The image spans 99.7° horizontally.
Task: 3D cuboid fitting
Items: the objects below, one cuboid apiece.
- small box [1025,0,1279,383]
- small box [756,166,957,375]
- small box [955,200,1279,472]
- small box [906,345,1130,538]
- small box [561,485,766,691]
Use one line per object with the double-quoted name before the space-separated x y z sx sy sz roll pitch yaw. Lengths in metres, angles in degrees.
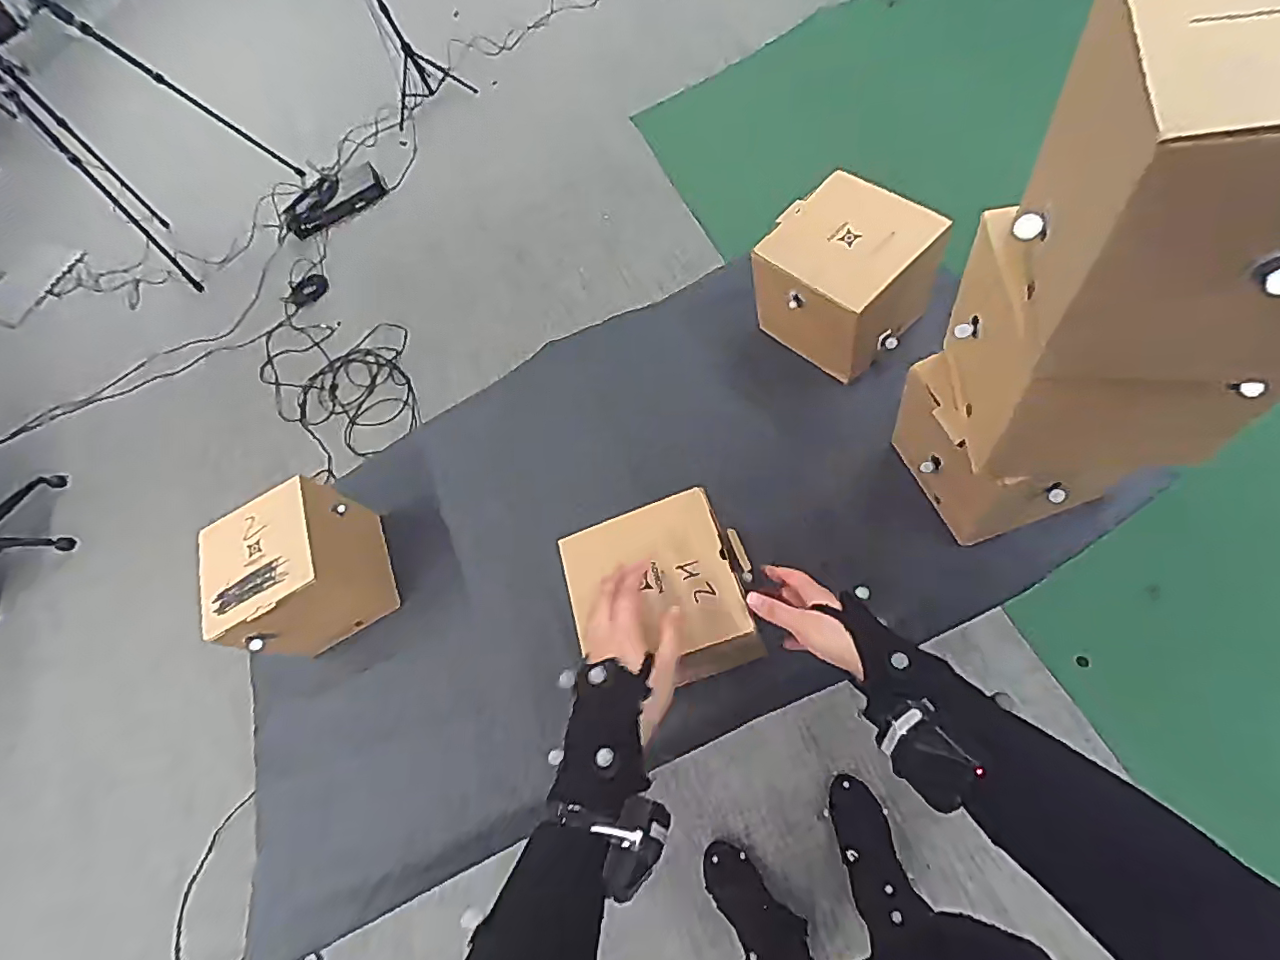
"small box" 0.341 -0.167 0.295 0.179 0.176 0.168 6 66 21
"small box" 0.282 -0.276 0.738 0.168 0.176 0.179 -43 64 -3
"small box" 0.380 -0.115 0.448 0.179 0.176 0.168 -3 63 16
"small box" 0.417 -0.057 0.597 0.179 0.176 0.168 -23 59 7
"small box" 0.033 0.135 0.627 0.179 0.176 0.168 -22 62 7
